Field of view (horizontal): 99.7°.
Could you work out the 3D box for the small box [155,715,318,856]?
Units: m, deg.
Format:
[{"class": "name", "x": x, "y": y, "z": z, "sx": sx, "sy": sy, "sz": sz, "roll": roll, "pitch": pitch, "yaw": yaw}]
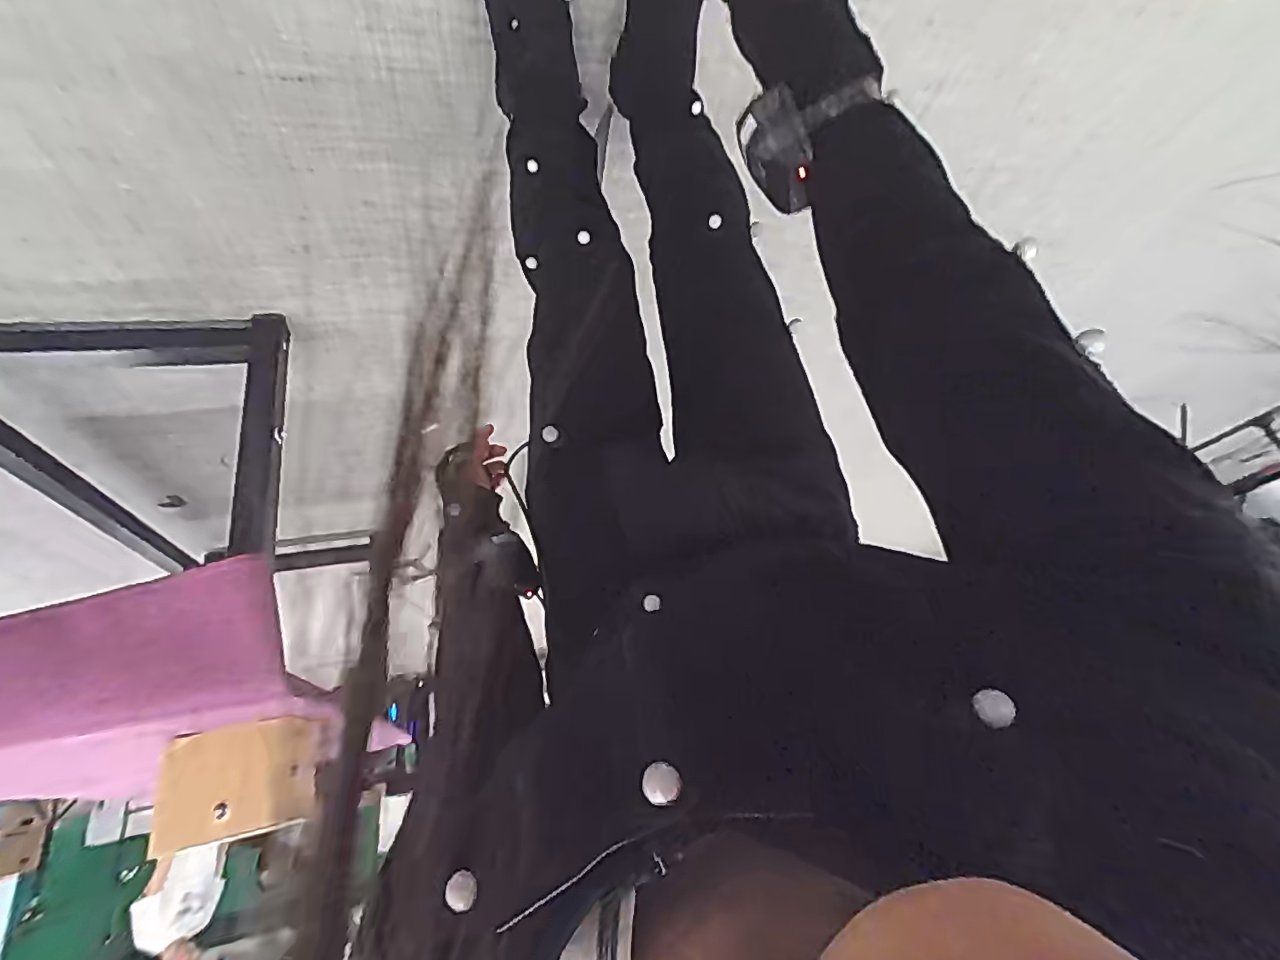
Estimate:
[{"class": "small box", "x": -0.674, "y": 0.512, "z": 0.926, "sx": 0.179, "sy": 0.176, "sz": 0.168, "roll": -7, "pitch": 153, "yaw": -15}]
